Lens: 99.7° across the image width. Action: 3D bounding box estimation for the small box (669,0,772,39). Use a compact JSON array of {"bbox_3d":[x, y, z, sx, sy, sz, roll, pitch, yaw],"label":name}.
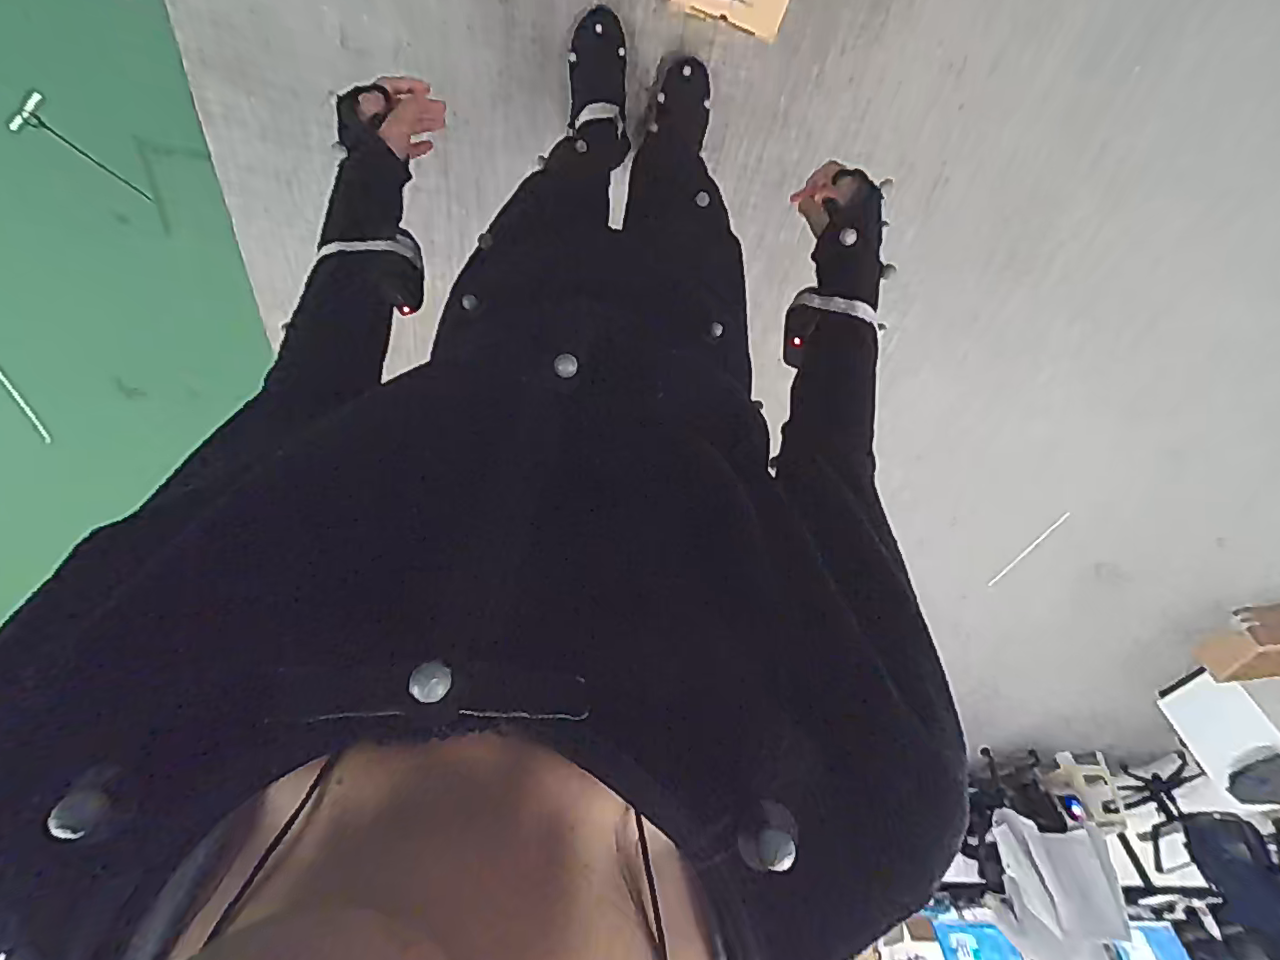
[{"bbox_3d":[0.144,-0.882,0.909,0.168,0.176,0.179,8,135,-8],"label":"small box"}]
